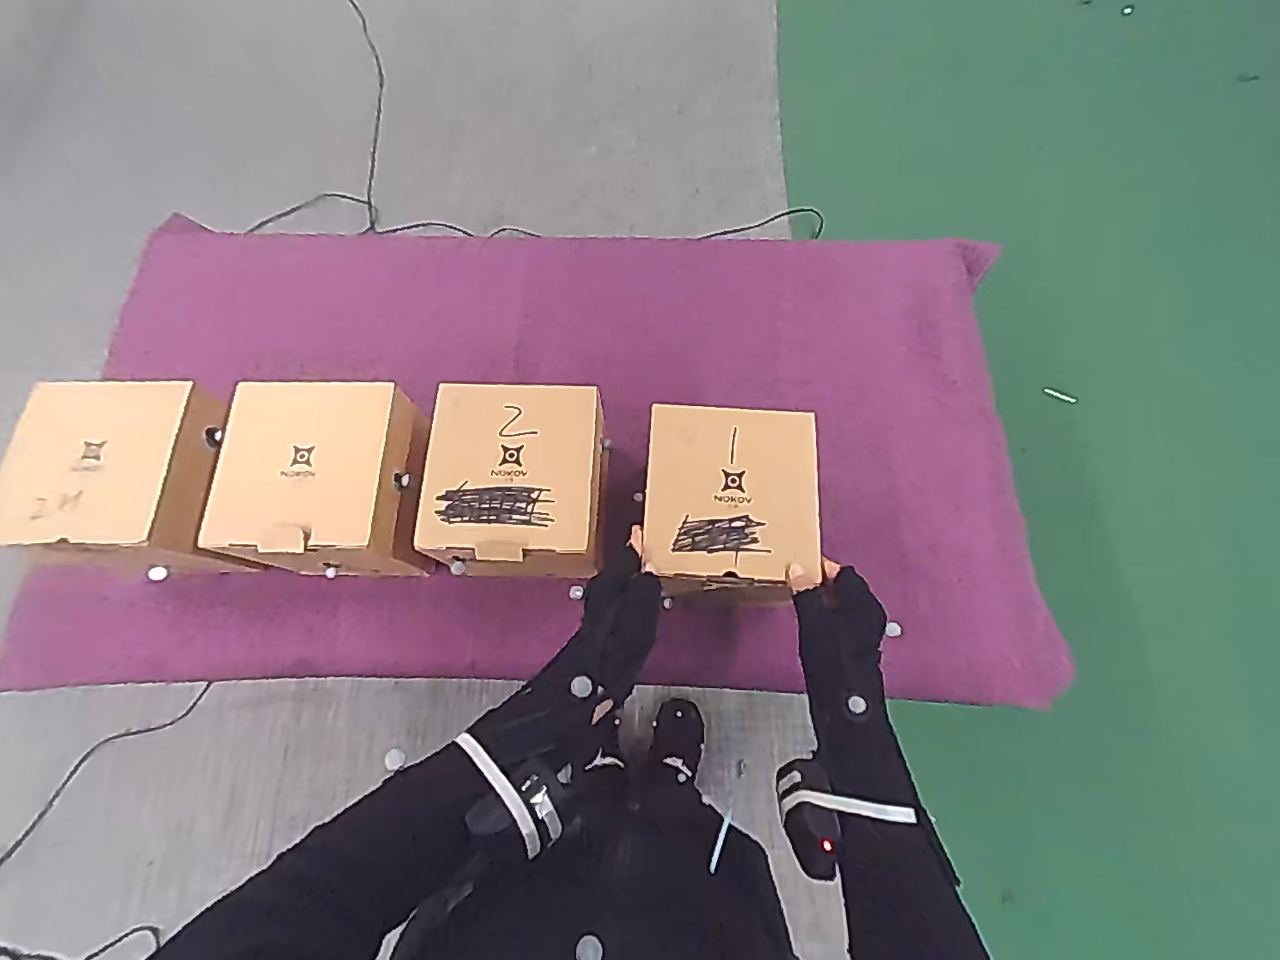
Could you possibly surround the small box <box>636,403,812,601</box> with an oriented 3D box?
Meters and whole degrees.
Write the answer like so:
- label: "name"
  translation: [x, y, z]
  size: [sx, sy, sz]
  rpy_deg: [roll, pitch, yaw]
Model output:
- label: "small box"
  translation: [0.086, 0.035, 0.600]
  size: [0.168, 0.176, 0.179]
  rpy_deg: [4, 70, 2]
